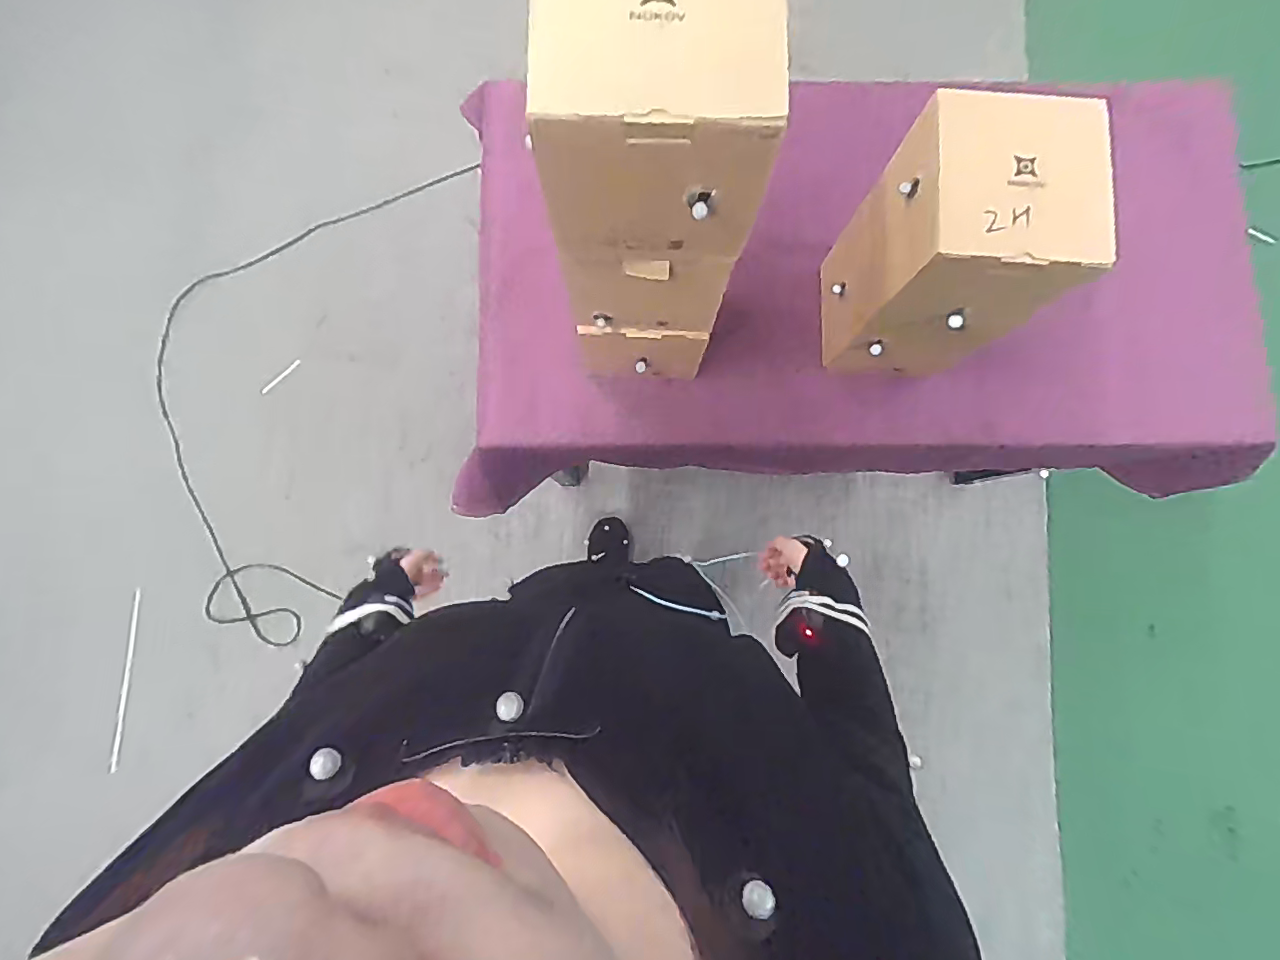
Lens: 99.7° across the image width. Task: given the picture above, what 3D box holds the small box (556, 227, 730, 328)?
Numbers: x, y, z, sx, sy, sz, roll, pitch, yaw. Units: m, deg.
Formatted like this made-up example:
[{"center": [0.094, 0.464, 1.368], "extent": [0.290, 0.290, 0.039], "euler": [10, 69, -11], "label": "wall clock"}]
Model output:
[{"center": [0.008, -0.281, 0.589], "extent": [0.168, 0.176, 0.179], "euler": [4, 83, -1], "label": "small box"}]

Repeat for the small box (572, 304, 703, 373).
[{"center": [0.000, -0.256, 0.752], "extent": [0.168, 0.176, 0.179], "euler": [3, 84, -2], "label": "small box"}]

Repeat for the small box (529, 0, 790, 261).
[{"center": [0.013, -0.295, 0.427], "extent": [0.168, 0.176, 0.179], "euler": [2, 83, -2], "label": "small box"}]

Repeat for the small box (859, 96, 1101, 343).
[{"center": [0.358, -0.272, 0.597], "extent": [0.168, 0.176, 0.179], "euler": [5, 84, 0], "label": "small box"}]
